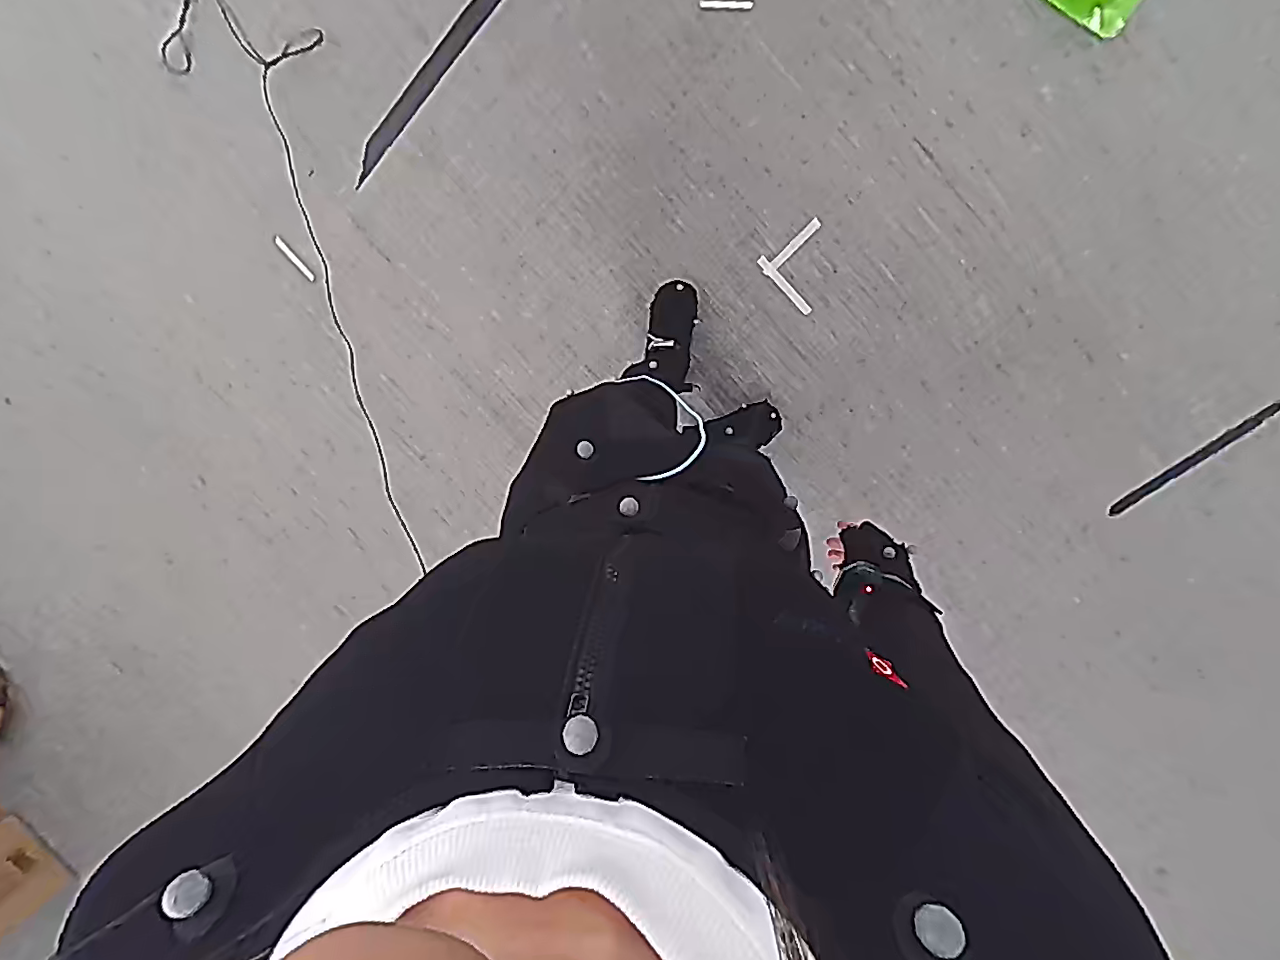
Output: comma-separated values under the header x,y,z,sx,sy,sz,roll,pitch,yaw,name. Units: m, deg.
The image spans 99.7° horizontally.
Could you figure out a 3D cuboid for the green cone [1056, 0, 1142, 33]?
x,y,z,sx,sy,sz,roll,pitch,yaw,name
0.861,-0.943,0.856,0.200,0.368,0.202,33,110,-1,green cone
